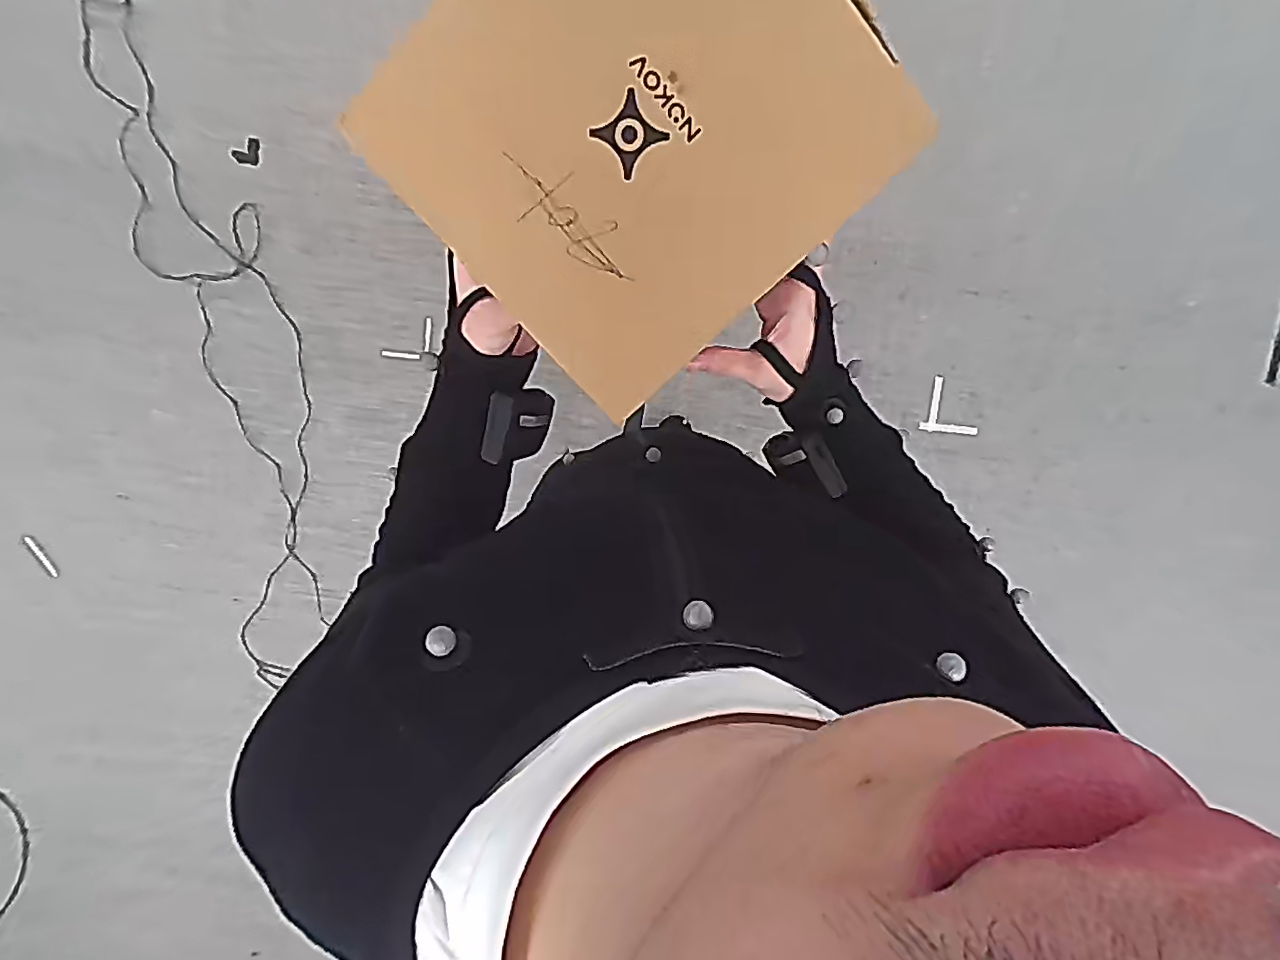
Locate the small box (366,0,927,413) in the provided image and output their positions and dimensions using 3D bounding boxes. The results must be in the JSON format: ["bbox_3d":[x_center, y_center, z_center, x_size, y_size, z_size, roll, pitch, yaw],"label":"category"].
[{"bbox_3d":[0.004,-0.166,0.297,0.179,0.176,0.168,-41,101,13],"label":"small box"}]
